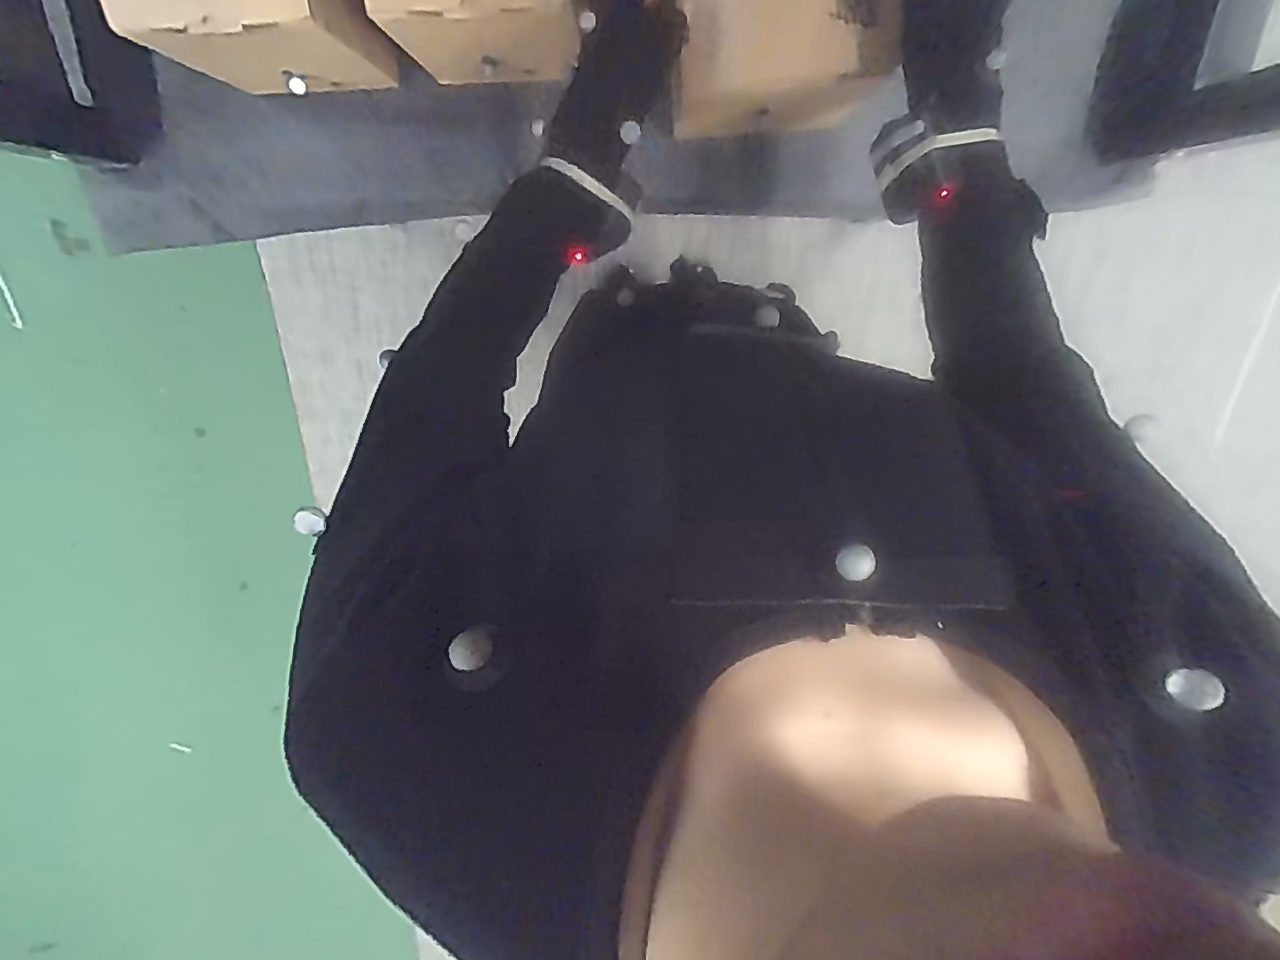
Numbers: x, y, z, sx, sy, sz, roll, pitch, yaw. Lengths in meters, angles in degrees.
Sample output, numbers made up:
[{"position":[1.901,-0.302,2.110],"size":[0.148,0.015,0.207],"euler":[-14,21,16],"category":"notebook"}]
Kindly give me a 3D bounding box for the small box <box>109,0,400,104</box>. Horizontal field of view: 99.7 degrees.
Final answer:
[{"position":[-0.340,-0.466,0.483],"size":[0.168,0.176,0.179],"euler":[-2,111,1],"category":"small box"}]

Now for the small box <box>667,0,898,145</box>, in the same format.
[{"position":[0.117,-0.424,0.495],"size":[0.179,0.176,0.168],"euler":[-3,110,3],"category":"small box"}]
